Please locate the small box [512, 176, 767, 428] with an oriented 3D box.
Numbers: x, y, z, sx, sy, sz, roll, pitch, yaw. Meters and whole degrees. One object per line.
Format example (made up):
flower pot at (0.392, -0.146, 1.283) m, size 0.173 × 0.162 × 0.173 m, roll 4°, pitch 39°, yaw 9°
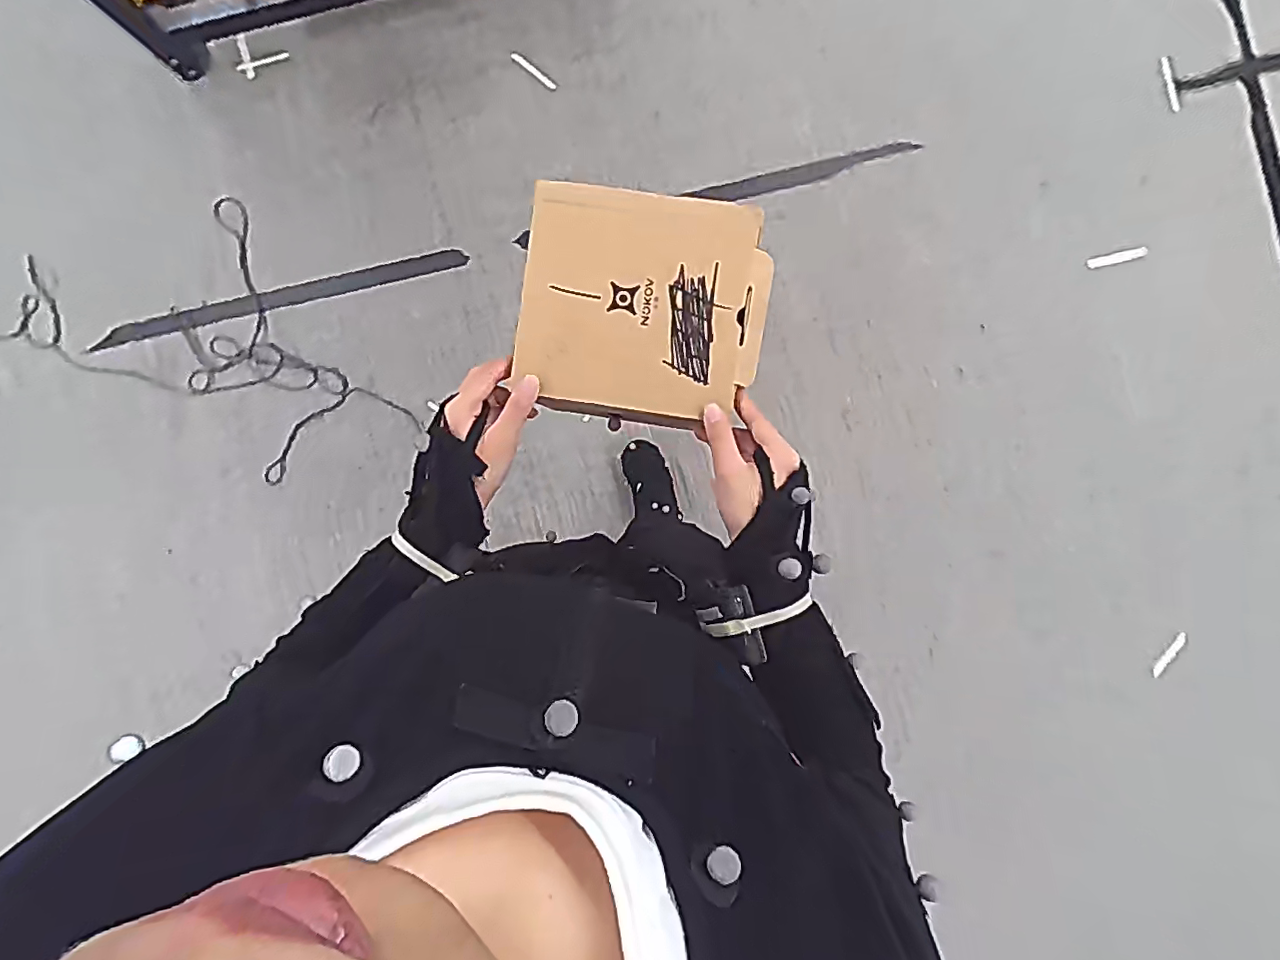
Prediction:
small box at (0.001, -0.140, 0.488) m, size 0.179 × 0.176 × 0.168 m, roll 8°, pitch 93°, yaw 2°
